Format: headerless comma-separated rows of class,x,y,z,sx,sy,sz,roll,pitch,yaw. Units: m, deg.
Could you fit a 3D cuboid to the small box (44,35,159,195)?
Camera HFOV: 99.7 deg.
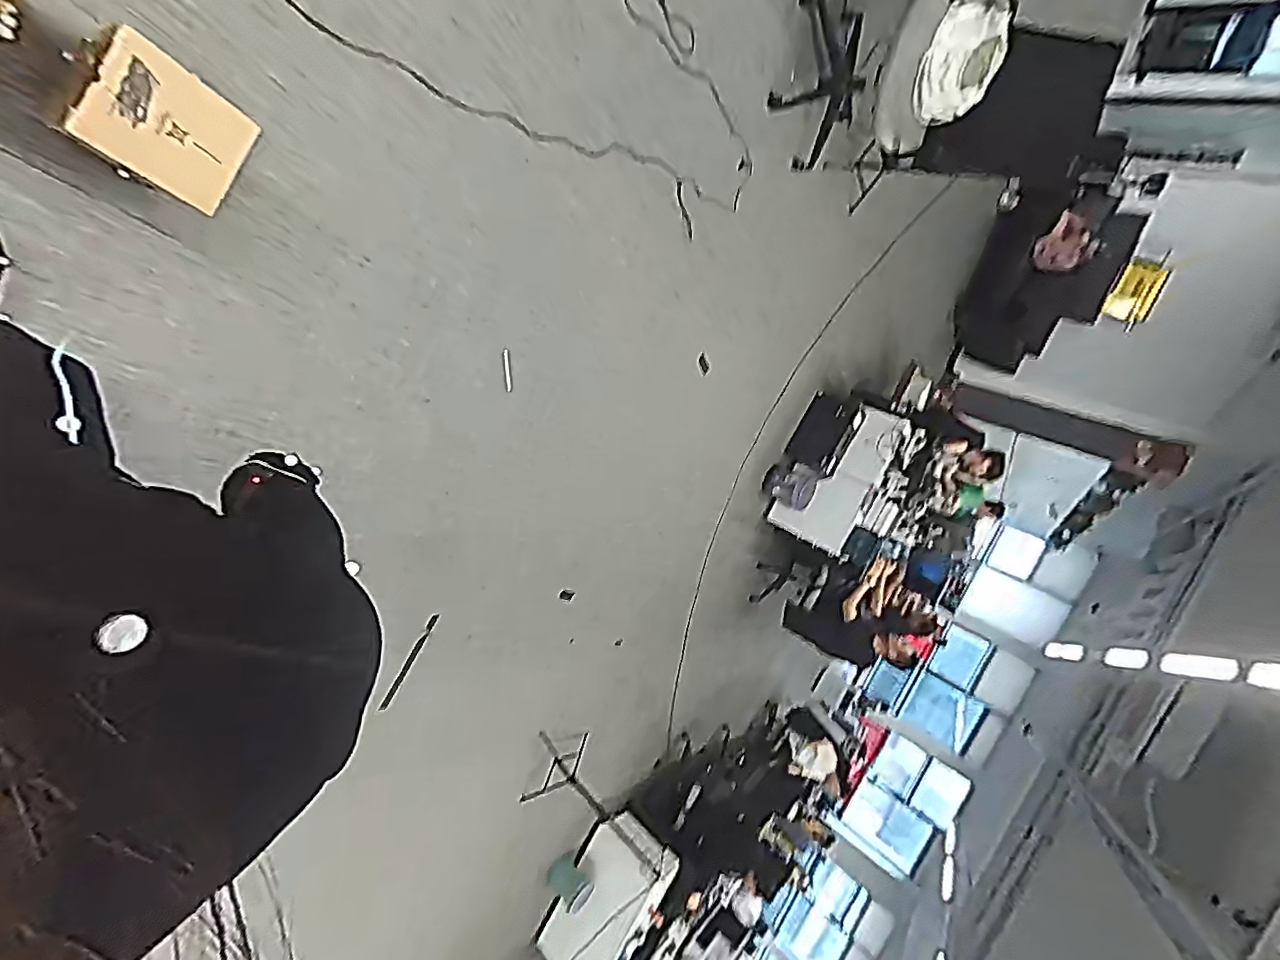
small box,-0.861,-0.606,0.926,0.168,0.176,0.179,-61,147,-1

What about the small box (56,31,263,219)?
small box,-0.742,-0.539,0.835,0.168,0.176,0.179,-61,148,-1
